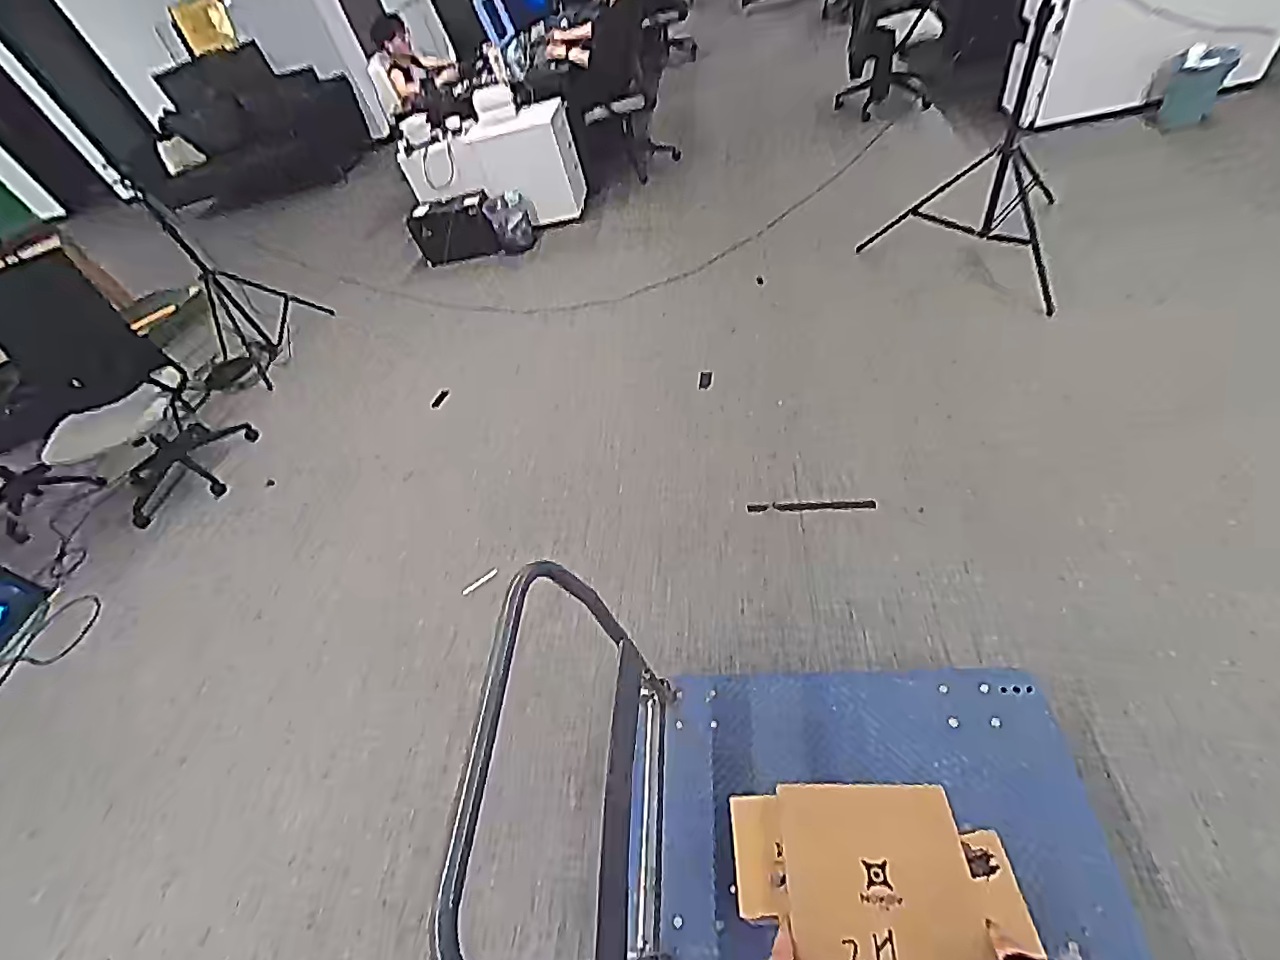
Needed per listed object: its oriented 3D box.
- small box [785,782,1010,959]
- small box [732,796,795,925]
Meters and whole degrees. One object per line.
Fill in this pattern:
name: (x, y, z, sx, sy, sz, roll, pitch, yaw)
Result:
small box: (0.237, 0.424, 0.533, 0.168, 0.176, 0.179, -7, 41, 11)
small box: (0.260, 0.685, 0.973, 0.168, 0.176, 0.179, -8, 49, 9)
